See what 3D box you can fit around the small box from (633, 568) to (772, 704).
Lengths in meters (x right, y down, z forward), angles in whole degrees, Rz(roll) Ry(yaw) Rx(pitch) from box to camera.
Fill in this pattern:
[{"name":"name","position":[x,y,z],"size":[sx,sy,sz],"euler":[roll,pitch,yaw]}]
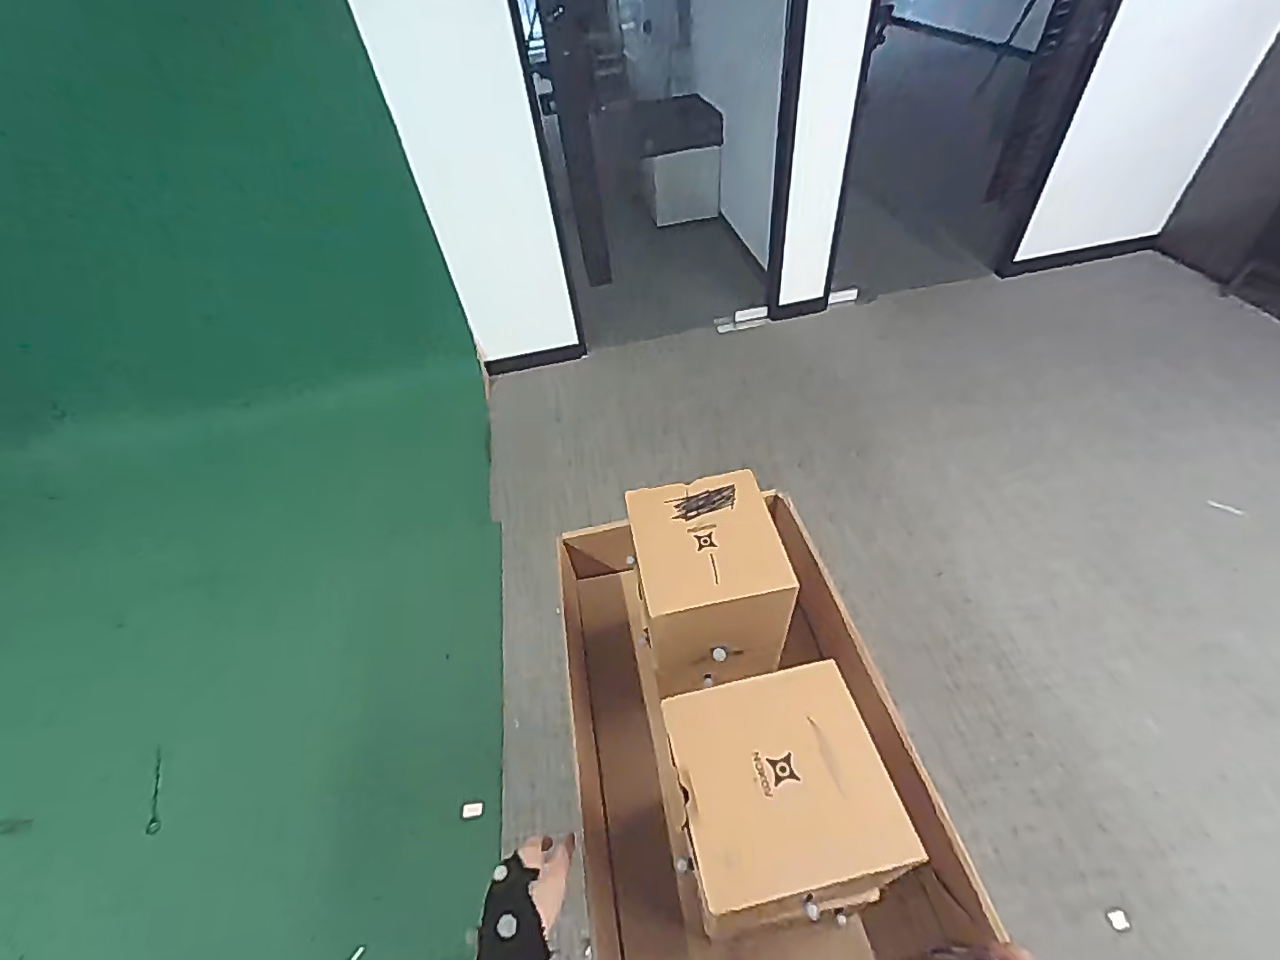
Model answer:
[{"name":"small box","position":[0.095,0.227,0.814],"size":[0.179,0.176,0.168],"euler":[-11,49,-1]}]

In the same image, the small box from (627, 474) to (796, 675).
[{"name":"small box","position":[0.081,0.122,0.688],"size":[0.168,0.176,0.179],"euler":[-11,50,-2]}]

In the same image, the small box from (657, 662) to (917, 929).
[{"name":"small box","position":[0.123,0.305,0.520],"size":[0.179,0.176,0.168],"euler":[-12,47,-4]}]
